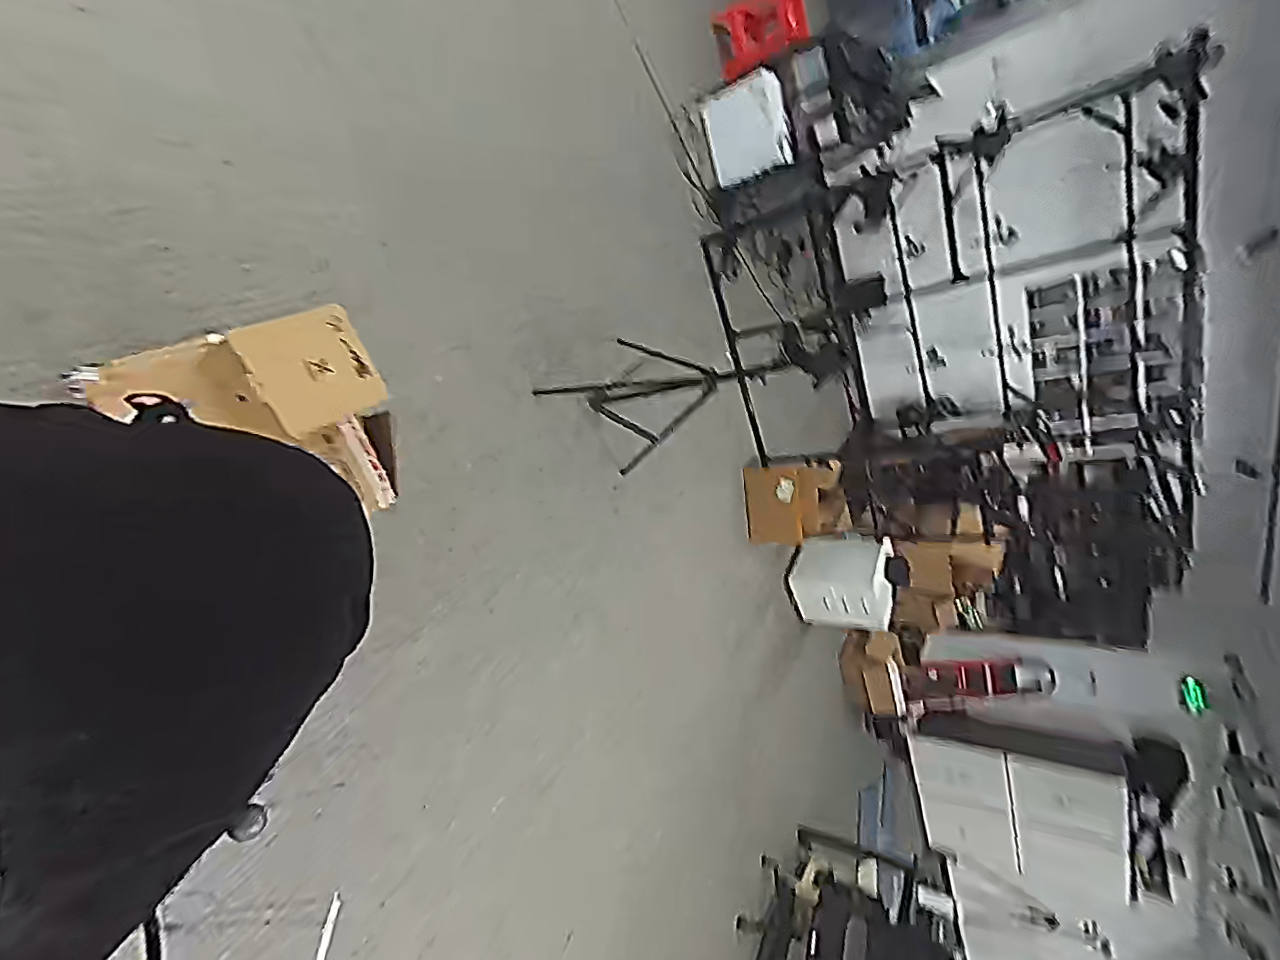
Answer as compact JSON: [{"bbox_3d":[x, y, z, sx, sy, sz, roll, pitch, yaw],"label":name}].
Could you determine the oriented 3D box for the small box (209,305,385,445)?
[{"bbox_3d":[-0.568,-0.167,0.890,0.179,0.176,0.168,-39,116,-43],"label":"small box"}]
